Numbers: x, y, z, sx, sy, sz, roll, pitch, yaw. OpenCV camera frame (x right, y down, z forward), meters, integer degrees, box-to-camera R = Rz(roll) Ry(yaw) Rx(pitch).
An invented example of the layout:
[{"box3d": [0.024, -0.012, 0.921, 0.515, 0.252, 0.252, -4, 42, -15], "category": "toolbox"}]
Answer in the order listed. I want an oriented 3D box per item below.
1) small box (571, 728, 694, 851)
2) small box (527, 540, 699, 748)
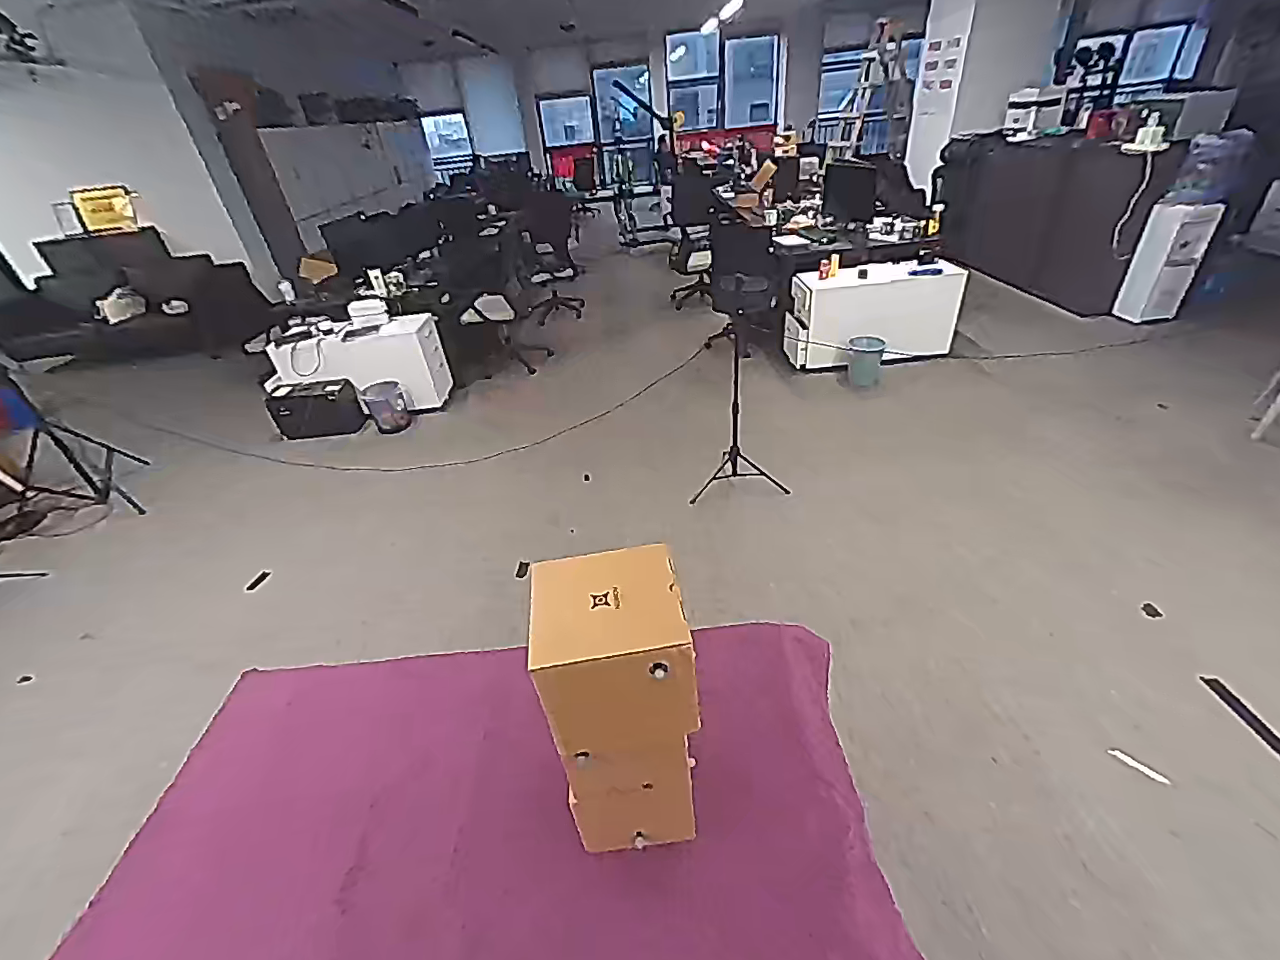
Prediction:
[{"box3d": [-0.010, 0.460, 0.863, 0.179, 0.176, 0.168, -7, 34, -1], "category": "small box"}, {"box3d": [-0.031, 0.200, 0.663, 0.179, 0.176, 0.168, -9, 34, -3], "category": "small box"}]
